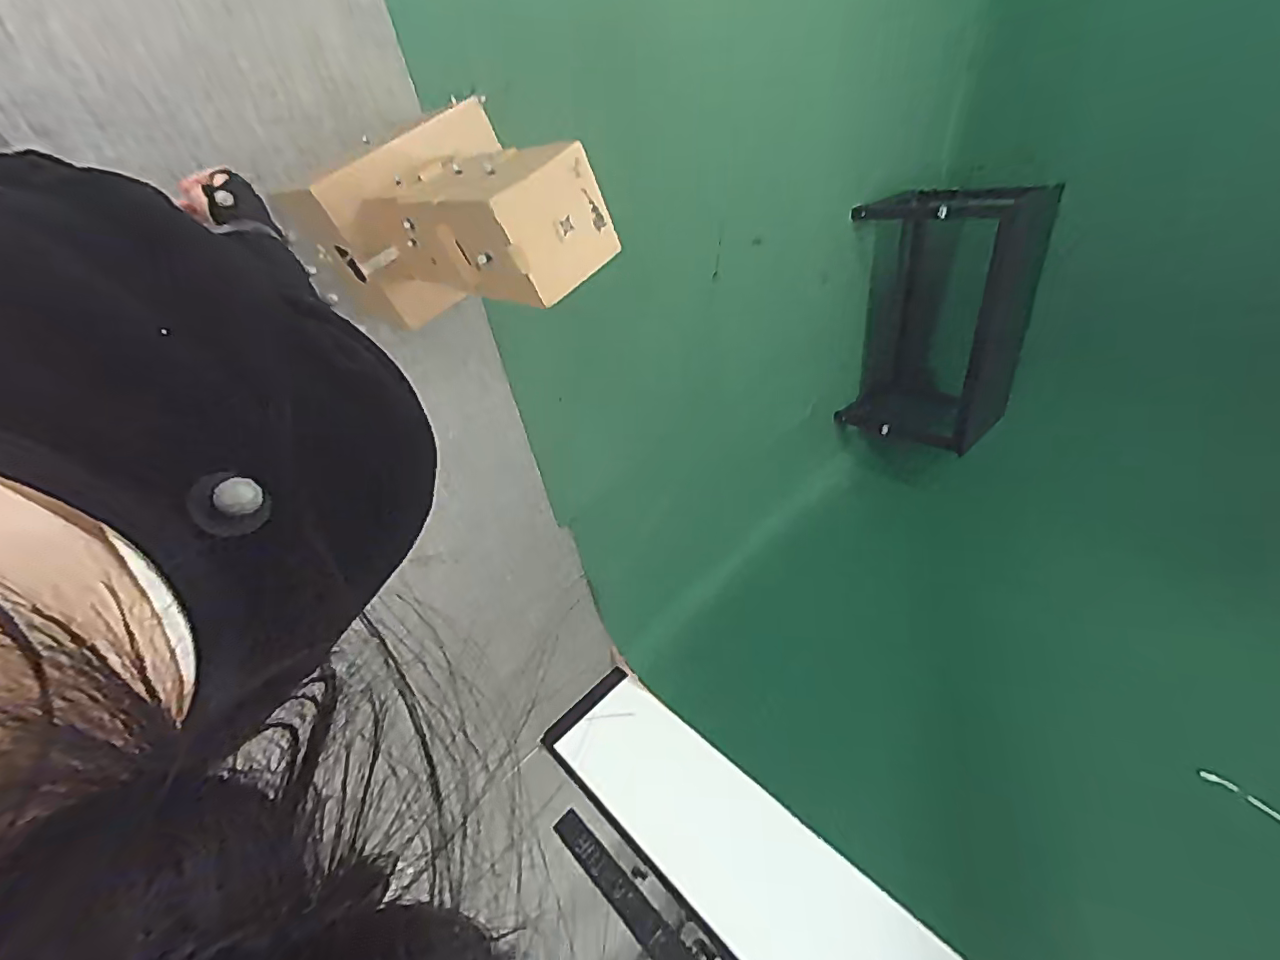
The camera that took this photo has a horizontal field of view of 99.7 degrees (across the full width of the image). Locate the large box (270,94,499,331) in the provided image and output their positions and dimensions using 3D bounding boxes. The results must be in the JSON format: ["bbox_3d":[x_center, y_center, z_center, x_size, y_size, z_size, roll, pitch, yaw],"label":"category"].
[{"bbox_3d":[-0.523,-0.599,1.233,0.408,0.320,0.320,-47,137,-21],"label":"large box"}]

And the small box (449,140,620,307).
[{"bbox_3d":[-0.168,-0.392,0.833,0.179,0.176,0.168,-45,135,-19],"label":"small box"}]

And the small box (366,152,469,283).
[{"bbox_3d":[-0.390,-0.501,1.048,0.168,0.176,0.179,-45,135,-20],"label":"small box"}]

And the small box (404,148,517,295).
[{"bbox_3d":[-0.281,-0.444,0.940,0.179,0.176,0.168,-46,135,-20],"label":"small box"}]
